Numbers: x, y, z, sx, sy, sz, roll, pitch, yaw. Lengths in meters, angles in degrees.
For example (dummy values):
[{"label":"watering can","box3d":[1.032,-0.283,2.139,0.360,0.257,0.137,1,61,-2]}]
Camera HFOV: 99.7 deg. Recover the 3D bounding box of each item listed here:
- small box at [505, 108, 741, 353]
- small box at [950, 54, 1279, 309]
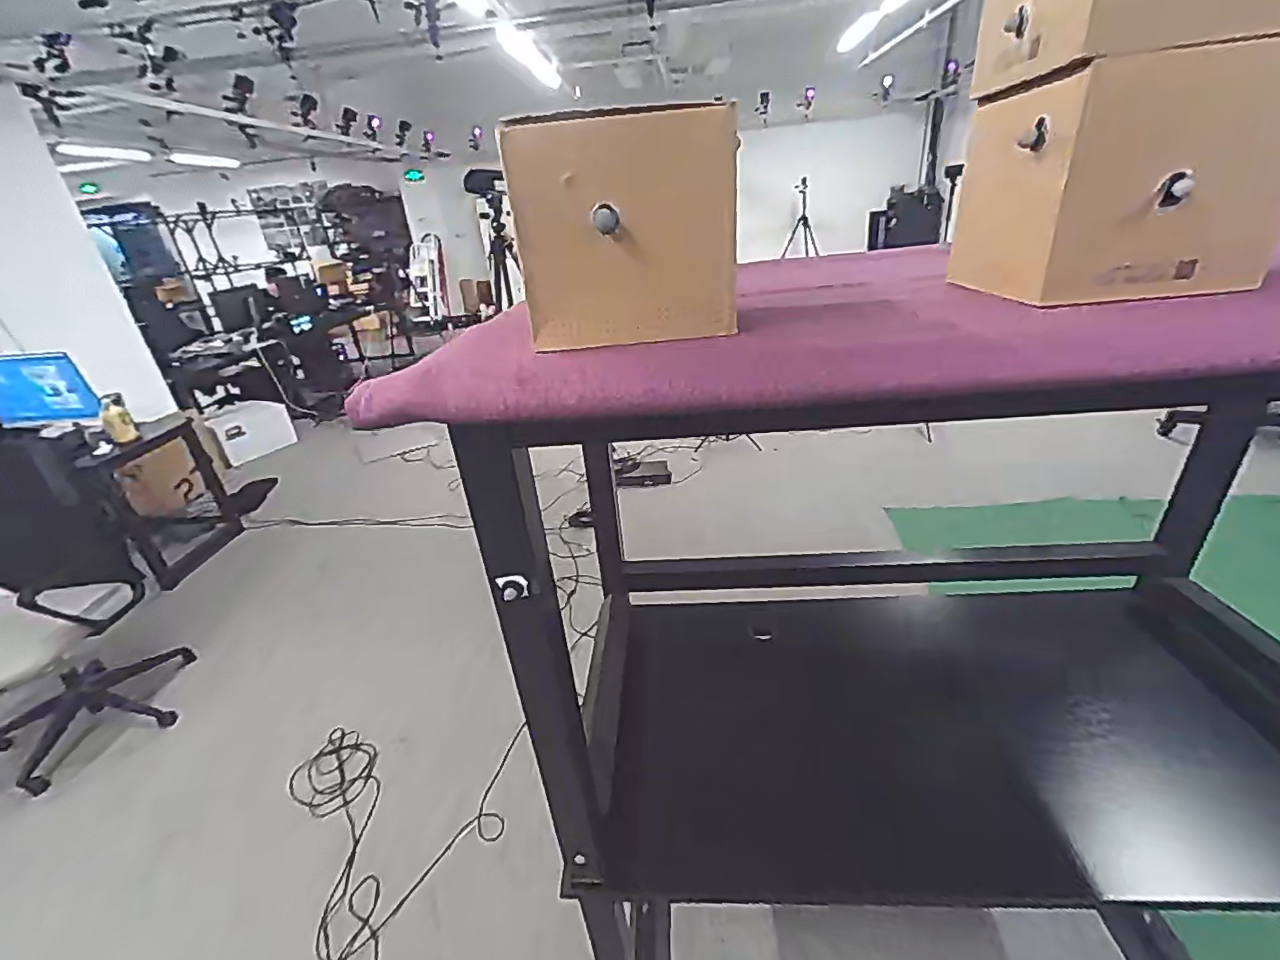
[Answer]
[{"label":"small box","box3d":[-0.008,-0.221,0.498,0.179,0.176,0.168,-5,28,0]},{"label":"small box","box3d":[0.407,-0.250,0.481,0.168,0.176,0.179,-2,26,5]}]
